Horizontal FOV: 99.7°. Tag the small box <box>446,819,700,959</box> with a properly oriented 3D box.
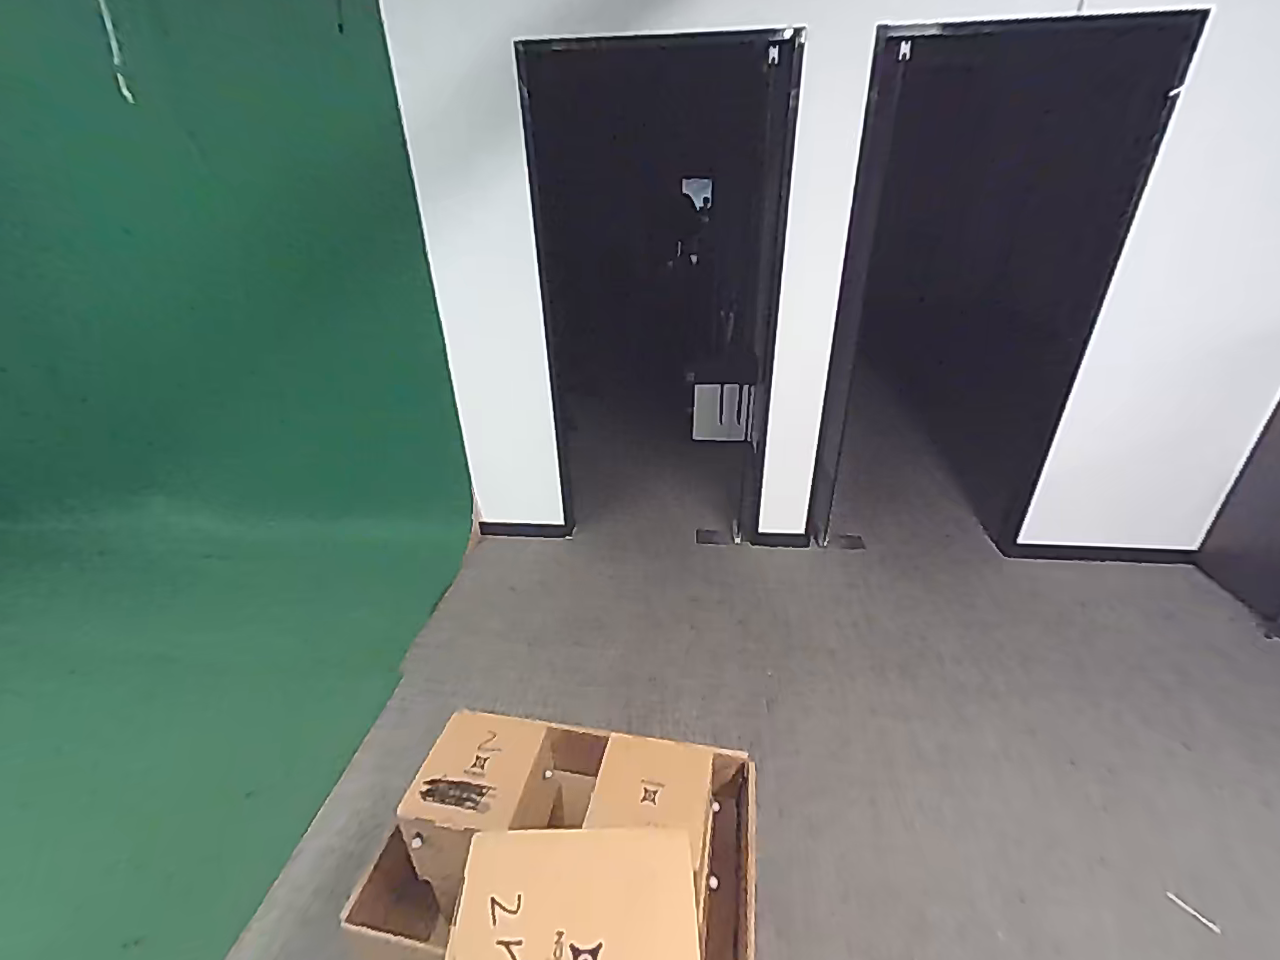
[{"bbox_3d":[-0.045,0.387,0.416,0.179,0.176,0.168,-1,34,0],"label":"small box"}]

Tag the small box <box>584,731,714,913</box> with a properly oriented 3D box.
[{"bbox_3d":[0.018,0.521,0.817,0.168,0.176,0.179,4,30,13],"label":"small box"}]
